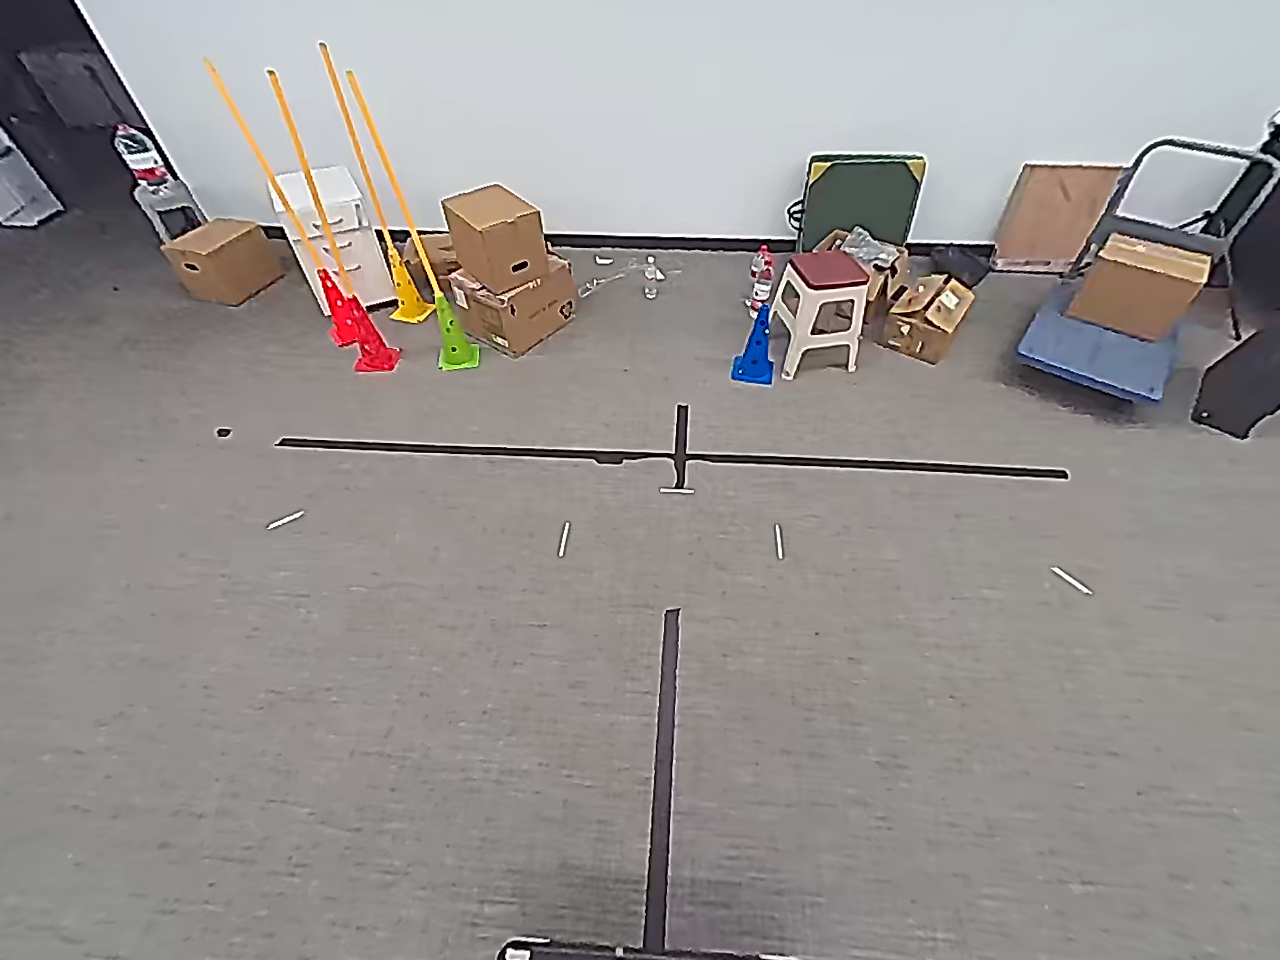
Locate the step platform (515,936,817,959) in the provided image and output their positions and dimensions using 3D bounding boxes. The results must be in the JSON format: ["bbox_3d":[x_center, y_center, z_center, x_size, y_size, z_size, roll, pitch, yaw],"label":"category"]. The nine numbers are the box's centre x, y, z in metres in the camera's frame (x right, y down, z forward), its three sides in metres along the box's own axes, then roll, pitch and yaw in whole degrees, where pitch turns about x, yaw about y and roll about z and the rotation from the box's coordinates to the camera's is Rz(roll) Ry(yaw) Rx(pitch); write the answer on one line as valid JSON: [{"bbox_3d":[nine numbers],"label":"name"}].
[{"bbox_3d":[0.058,1.128,1.093,0.684,0.204,0.286,2,48,1],"label":"step platform"}]
